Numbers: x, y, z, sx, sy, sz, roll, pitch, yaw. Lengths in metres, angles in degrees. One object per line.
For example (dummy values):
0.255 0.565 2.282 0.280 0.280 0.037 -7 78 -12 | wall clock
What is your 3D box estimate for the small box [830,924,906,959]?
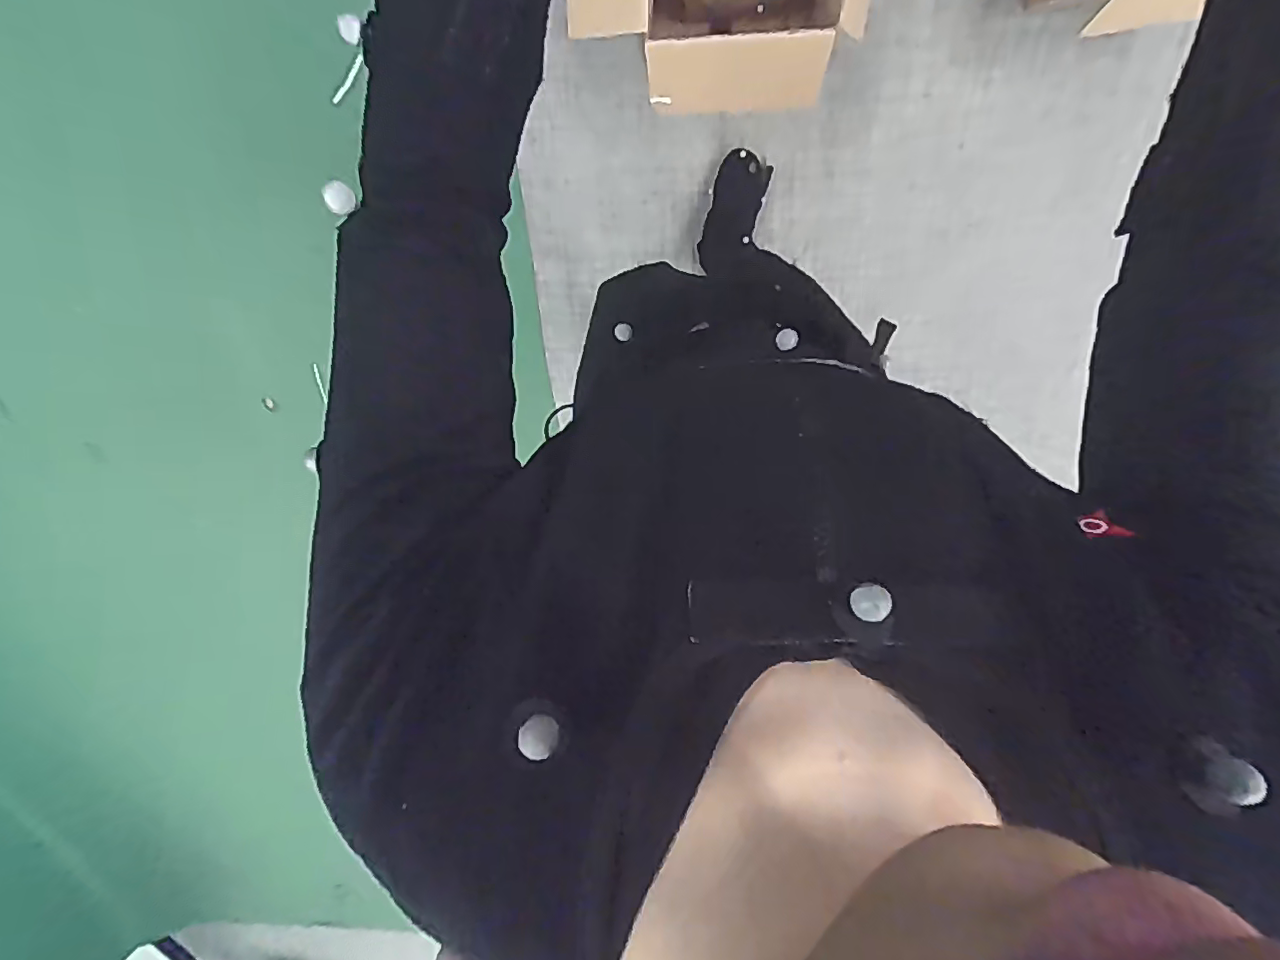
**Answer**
0.566 1.221 1.322 0.168 0.176 0.179 -7 119 10 | small box
